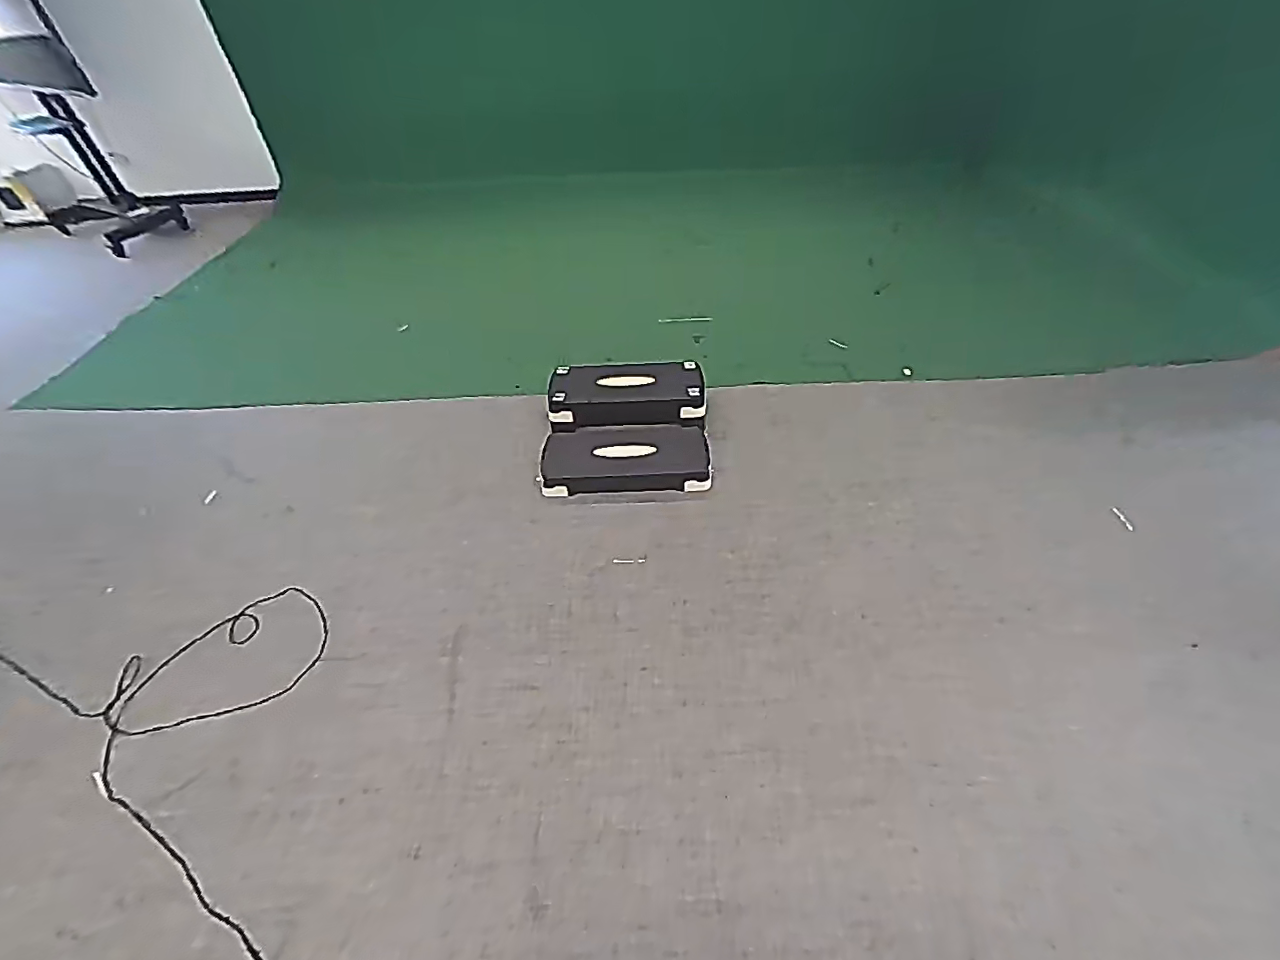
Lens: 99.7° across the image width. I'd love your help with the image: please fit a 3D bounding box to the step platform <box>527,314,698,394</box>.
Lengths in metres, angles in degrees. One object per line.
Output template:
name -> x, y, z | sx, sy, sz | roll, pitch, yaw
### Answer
step platform -> -0.106, -0.523, 2.238 | 0.684, 0.204, 0.286 | -3, 45, 1
